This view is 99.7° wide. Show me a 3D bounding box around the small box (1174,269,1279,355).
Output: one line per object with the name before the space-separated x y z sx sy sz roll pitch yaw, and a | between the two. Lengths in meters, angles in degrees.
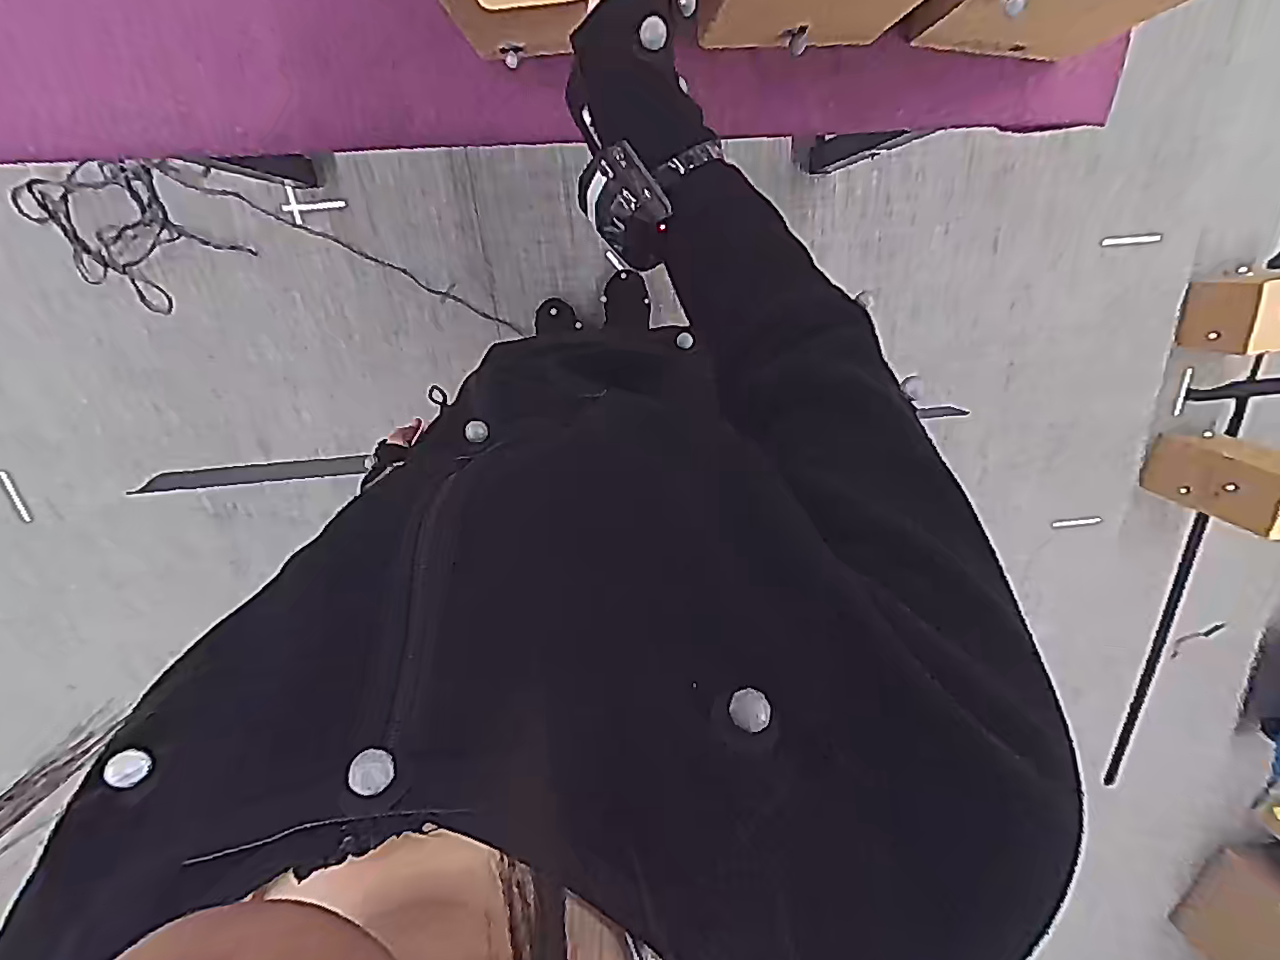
small box | 1.523 -0.429 1.370 0.168 0.176 0.179 -12 112 -2

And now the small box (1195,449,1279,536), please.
small box | 1.611 0.026 1.389 0.179 0.176 0.168 -6 114 -2

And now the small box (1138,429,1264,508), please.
small box | 1.584 -0.035 1.537 0.168 0.176 0.179 -2 113 -5

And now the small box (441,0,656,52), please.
small box | -0.073 -0.454 0.408 0.168 0.176 0.179 -7 113 0
